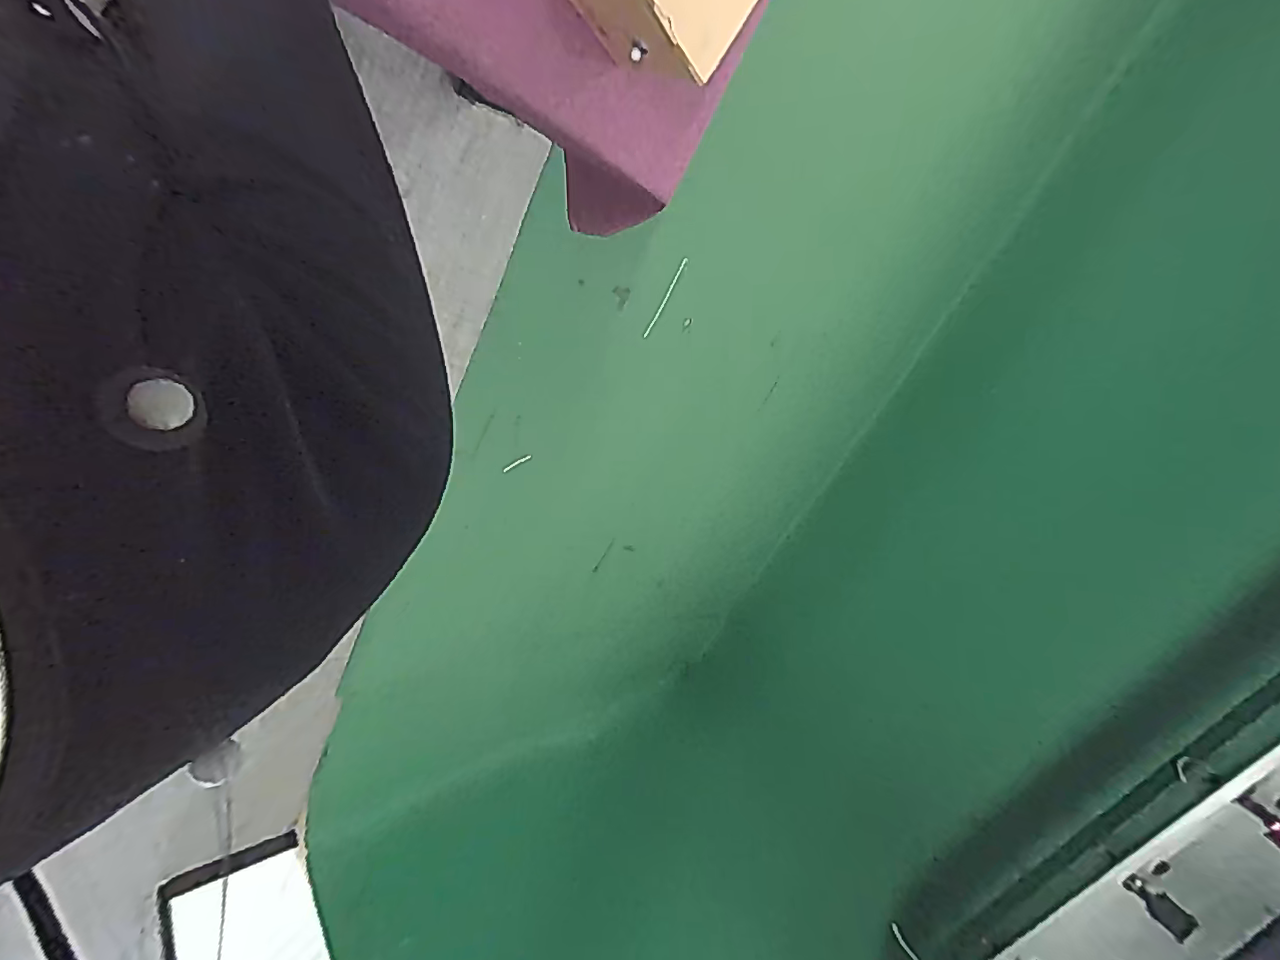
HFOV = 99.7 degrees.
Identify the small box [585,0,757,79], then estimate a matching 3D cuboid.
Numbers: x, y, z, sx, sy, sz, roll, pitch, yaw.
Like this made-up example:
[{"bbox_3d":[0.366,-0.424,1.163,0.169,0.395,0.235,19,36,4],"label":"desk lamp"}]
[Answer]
[{"bbox_3d":[0.027,-0.582,0.576,0.179,0.176,0.168,-55,145,11],"label":"small box"}]
